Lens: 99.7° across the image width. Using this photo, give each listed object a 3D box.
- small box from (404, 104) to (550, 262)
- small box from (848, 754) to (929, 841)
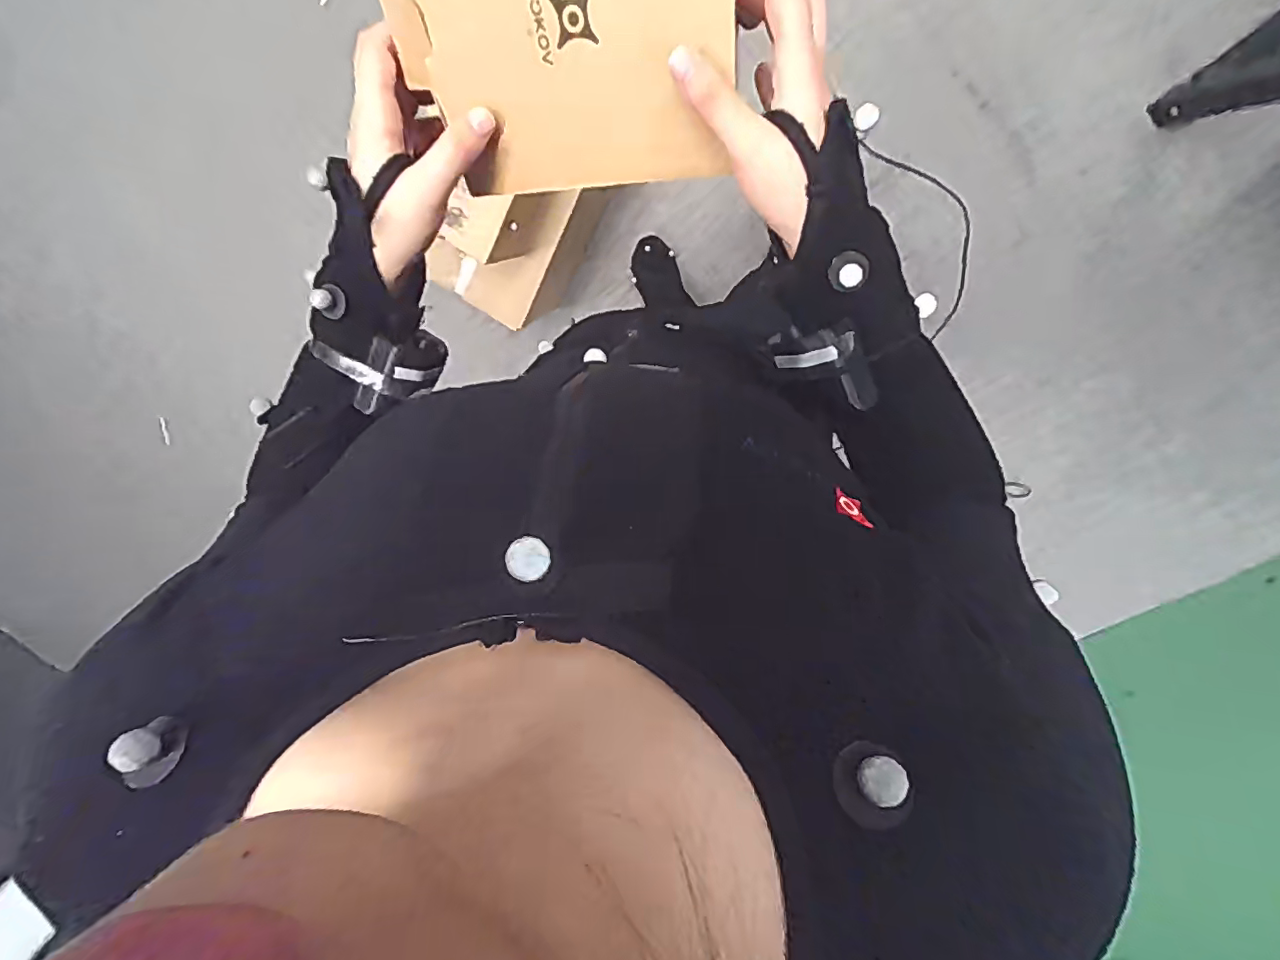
[{"bbox_3d":[-0.276,-0.511,0.948,0.168,0.176,0.179,29,116,-8],"label":"small box"},{"bbox_3d":[0.829,1.066,1.821,0.168,0.176,0.179,-38,104,24],"label":"small box"}]
